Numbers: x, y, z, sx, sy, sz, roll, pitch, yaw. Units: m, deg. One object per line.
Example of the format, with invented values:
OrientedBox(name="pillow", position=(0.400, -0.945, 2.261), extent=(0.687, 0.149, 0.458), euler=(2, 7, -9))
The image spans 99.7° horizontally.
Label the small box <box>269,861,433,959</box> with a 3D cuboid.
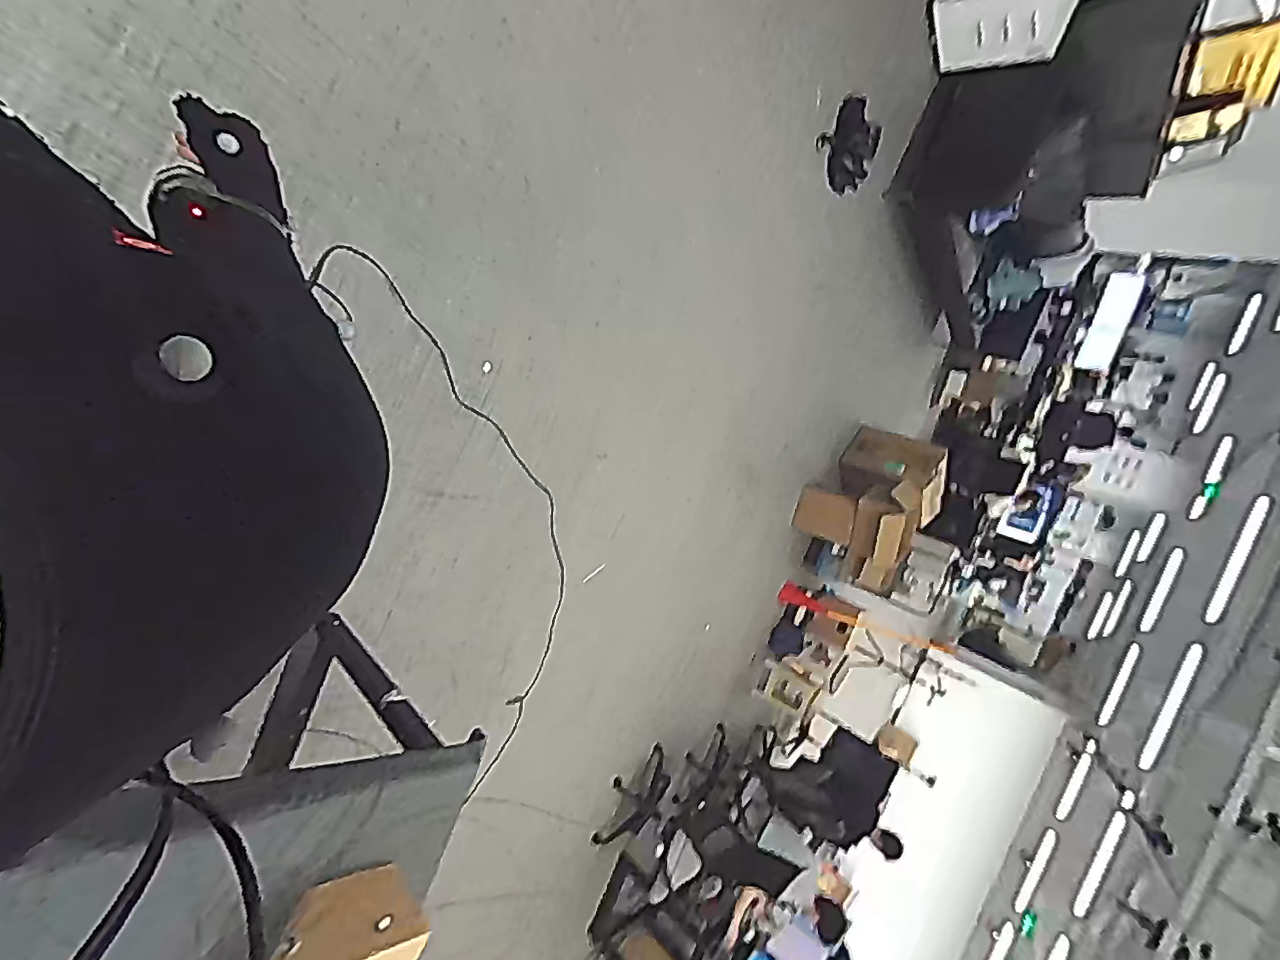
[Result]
OrientedBox(name="small box", position=(-0.513, 0.826, 0.960), extent=(0.179, 0.176, 0.168), euler=(27, 86, -51))
